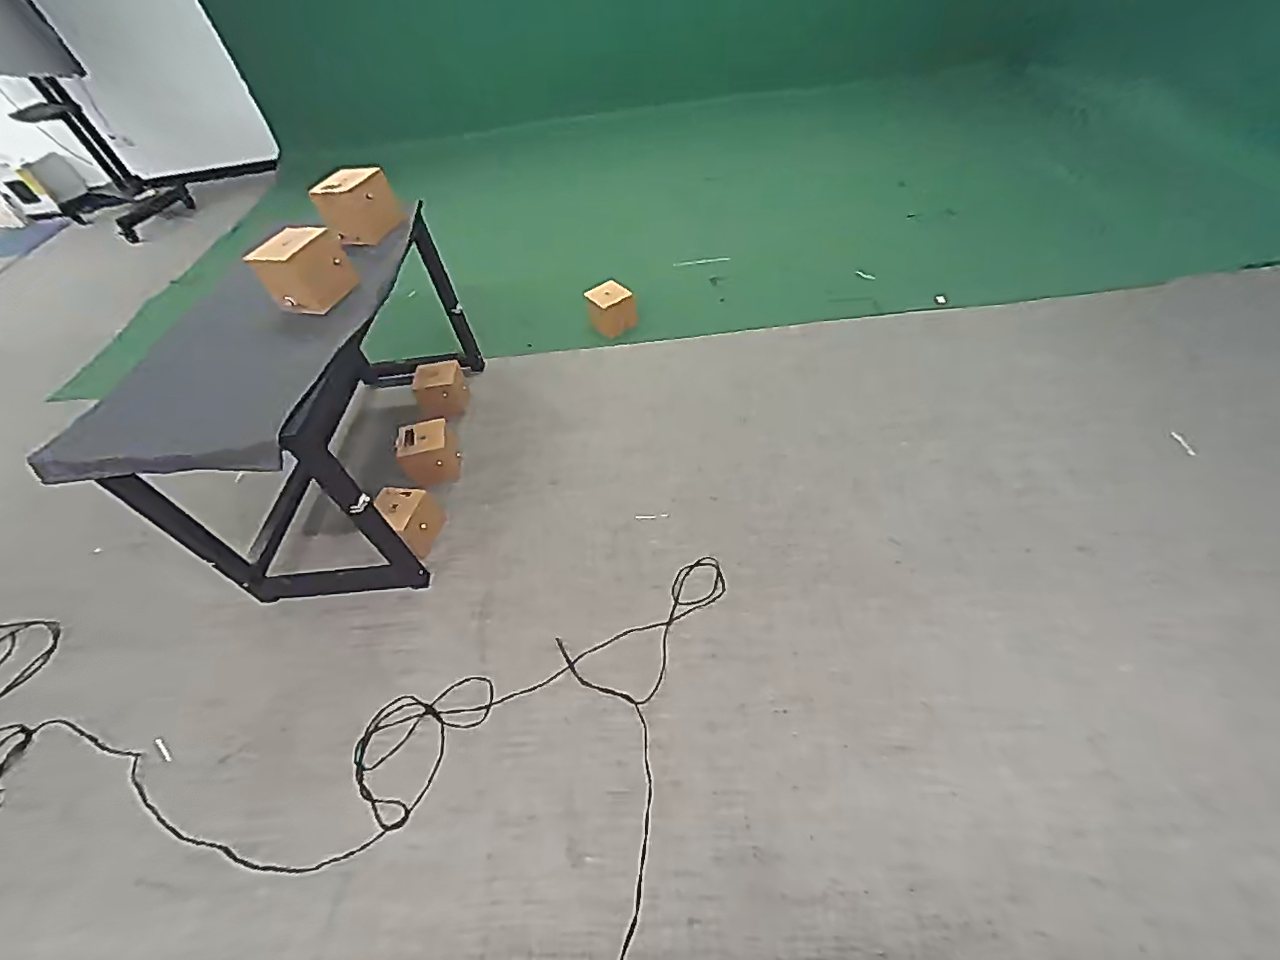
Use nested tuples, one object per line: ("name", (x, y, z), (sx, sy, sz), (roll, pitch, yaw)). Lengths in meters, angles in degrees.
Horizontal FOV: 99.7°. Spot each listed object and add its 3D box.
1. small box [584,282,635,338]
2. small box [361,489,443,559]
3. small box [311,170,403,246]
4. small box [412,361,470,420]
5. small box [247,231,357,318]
("small box", (-0.142, -0.797, 2.545), (0.168, 0.176, 0.179), (-33, 54, -18))
("small box", (-0.802, 0.152, 1.848), (0.168, 0.176, 0.179), (4, 52, 12))
("small box", (-0.920, -0.890, 1.777), (0.168, 0.176, 0.179), (10, 54, 19))
("small box", (-0.838, -0.378, 2.296), (0.179, 0.176, 0.168), (-9, 49, 1))
("small box", (-0.940, -0.582, 1.528), (0.168, 0.176, 0.179), (8, 53, 19))
